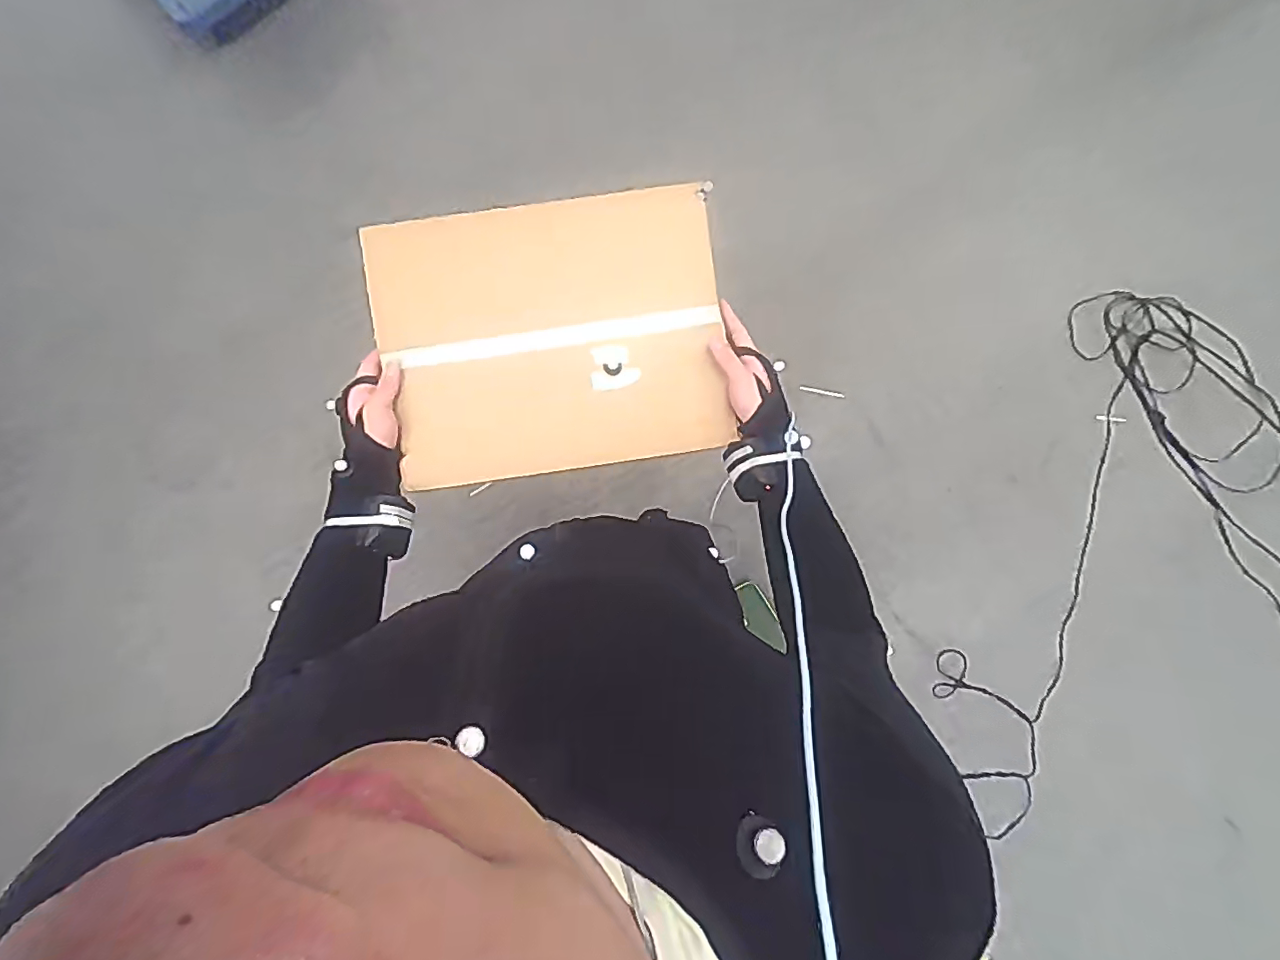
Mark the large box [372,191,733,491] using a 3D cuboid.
[{"bbox_3d":[-0.109,-0.173,0.802,0.408,0.320,0.320,-9,93,-2],"label":"large box"}]
